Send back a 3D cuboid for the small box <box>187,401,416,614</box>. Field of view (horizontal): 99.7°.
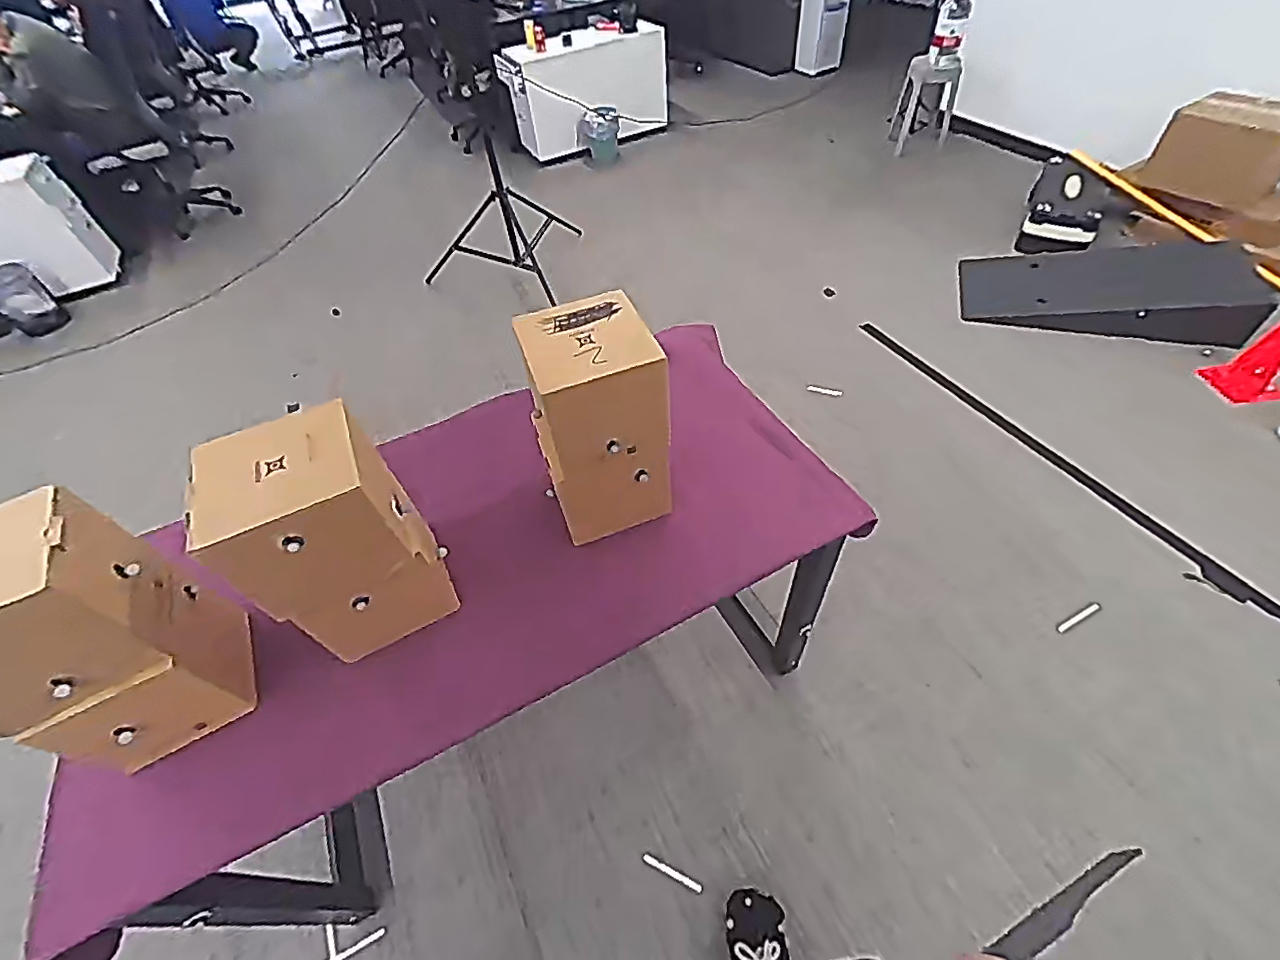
[{"bbox_3d":[-0.407,0.038,0.670,0.179,0.176,0.168,-23,54,-15],"label":"small box"}]

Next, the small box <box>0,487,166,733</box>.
[{"bbox_3d":[-0.680,0.146,0.607,0.179,0.176,0.168,-28,53,-18],"label":"small box"}]

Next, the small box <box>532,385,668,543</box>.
[{"bbox_3d":[-0.062,-0.024,0.895,0.179,0.176,0.168,-19,51,-9],"label":"small box"}]

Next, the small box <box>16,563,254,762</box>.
[{"bbox_3d":[-0.659,0.252,0.731,0.168,0.176,0.179,-27,53,-16],"label":"small box"}]

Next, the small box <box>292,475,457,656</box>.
[{"bbox_3d":[-0.400,0.131,0.803,0.179,0.176,0.168,-25,53,-16],"label":"small box"}]
